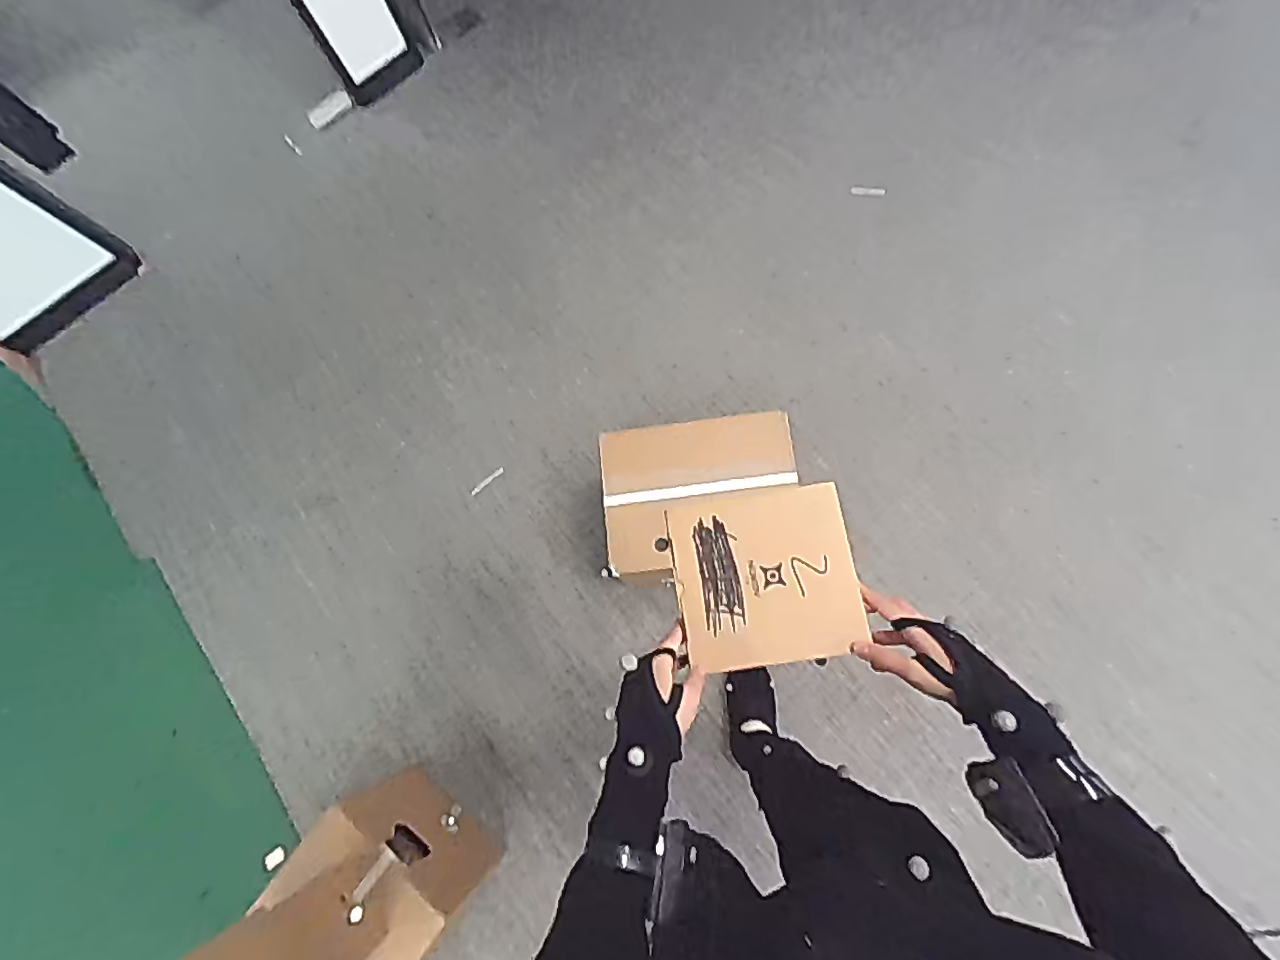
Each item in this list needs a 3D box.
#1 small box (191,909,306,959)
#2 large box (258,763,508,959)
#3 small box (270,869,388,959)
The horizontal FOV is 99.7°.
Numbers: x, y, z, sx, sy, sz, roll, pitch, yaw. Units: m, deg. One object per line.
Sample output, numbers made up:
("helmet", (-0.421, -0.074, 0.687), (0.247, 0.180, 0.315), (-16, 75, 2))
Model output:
("small box", (-0.580, 0.757, 0.744), (0.179, 0.176, 0.168), (40, 83, 14))
("large box", (-0.552, 0.896, 1.129), (0.320, 0.320, 0.408), (34, 82, 15))
("small box", (-0.565, 0.809, 0.898), (0.168, 0.176, 0.179), (38, 82, 13))
